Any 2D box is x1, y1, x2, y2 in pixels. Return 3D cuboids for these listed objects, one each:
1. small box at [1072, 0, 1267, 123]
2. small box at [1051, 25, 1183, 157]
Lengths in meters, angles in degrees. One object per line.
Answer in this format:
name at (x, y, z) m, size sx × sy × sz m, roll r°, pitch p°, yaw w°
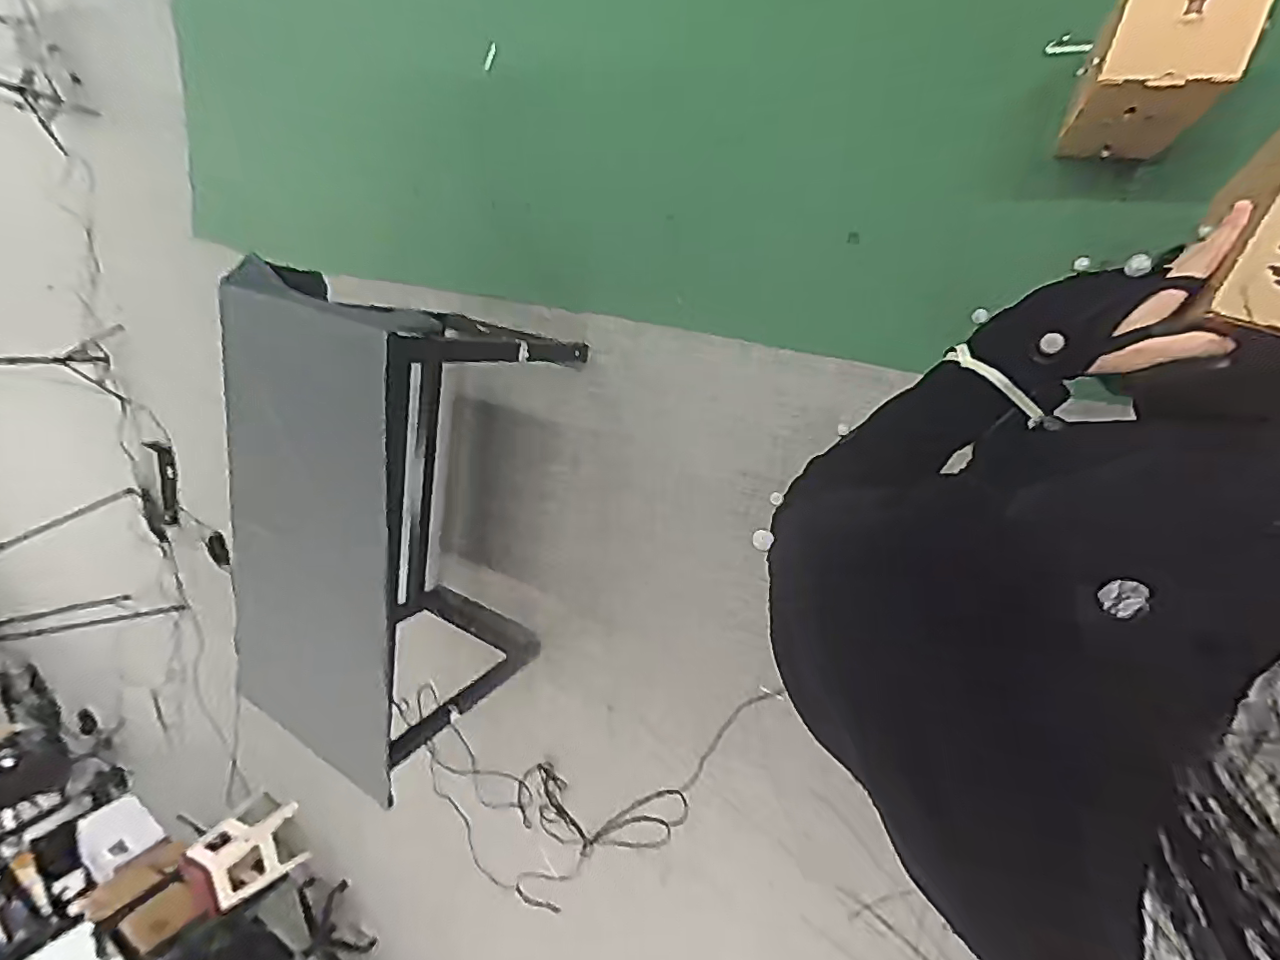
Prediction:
small box at (0.802, -0.678, 0.825) m, size 0.168 × 0.176 × 0.179 m, roll 17°, pitch 108°, yaw 23°
small box at (0.872, -0.708, 0.967) m, size 0.168 × 0.176 × 0.179 m, roll 18°, pitch 109°, yaw 23°
